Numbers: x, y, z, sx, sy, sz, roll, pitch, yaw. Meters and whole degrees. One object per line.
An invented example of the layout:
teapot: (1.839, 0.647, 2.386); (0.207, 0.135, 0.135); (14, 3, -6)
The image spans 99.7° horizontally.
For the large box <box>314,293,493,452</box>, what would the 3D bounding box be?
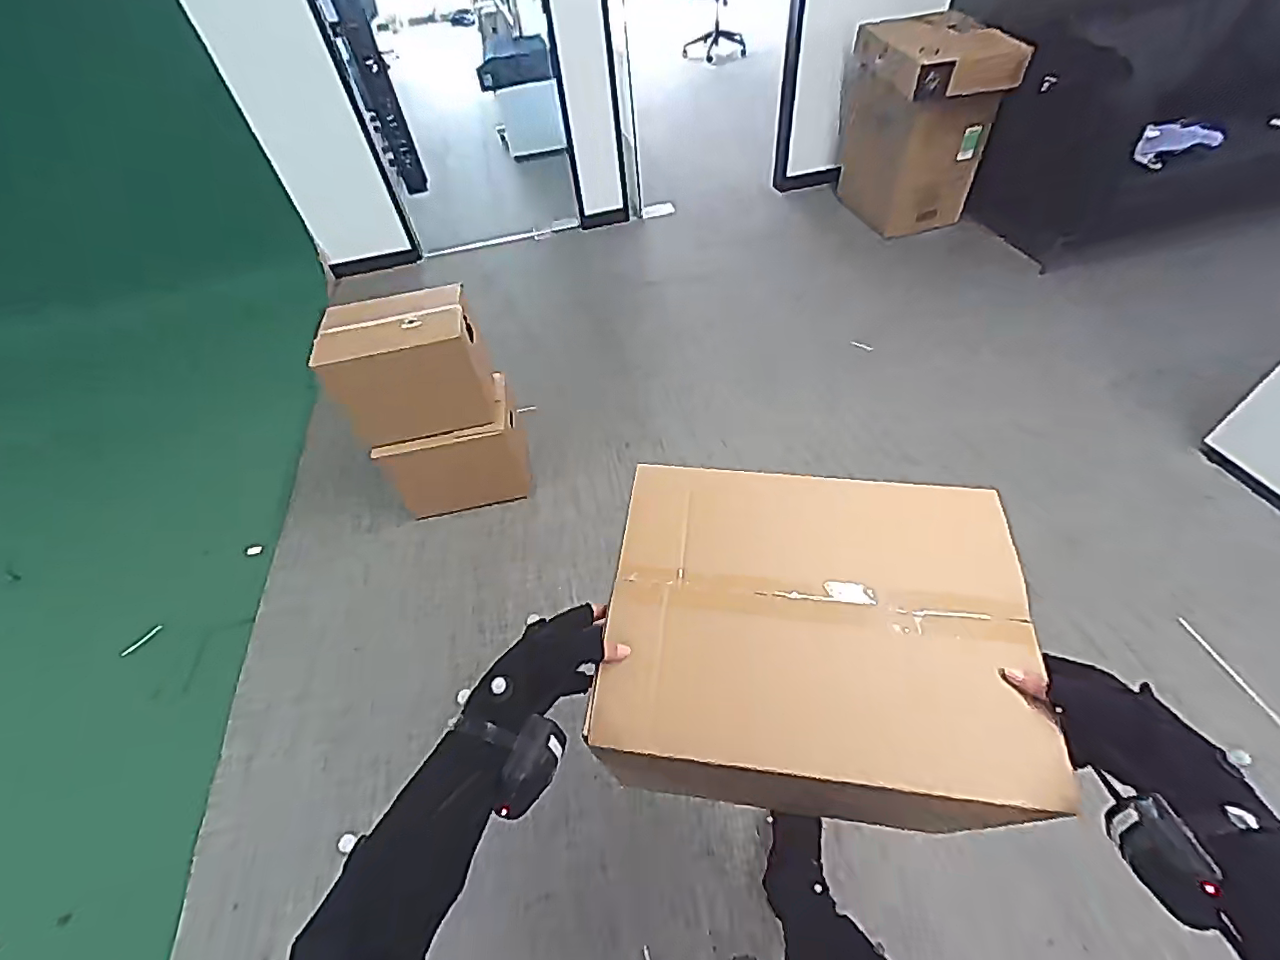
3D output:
large box: (-0.687, -0.327, 1.644); (0.408, 0.320, 0.320); (-12, 47, -5)
